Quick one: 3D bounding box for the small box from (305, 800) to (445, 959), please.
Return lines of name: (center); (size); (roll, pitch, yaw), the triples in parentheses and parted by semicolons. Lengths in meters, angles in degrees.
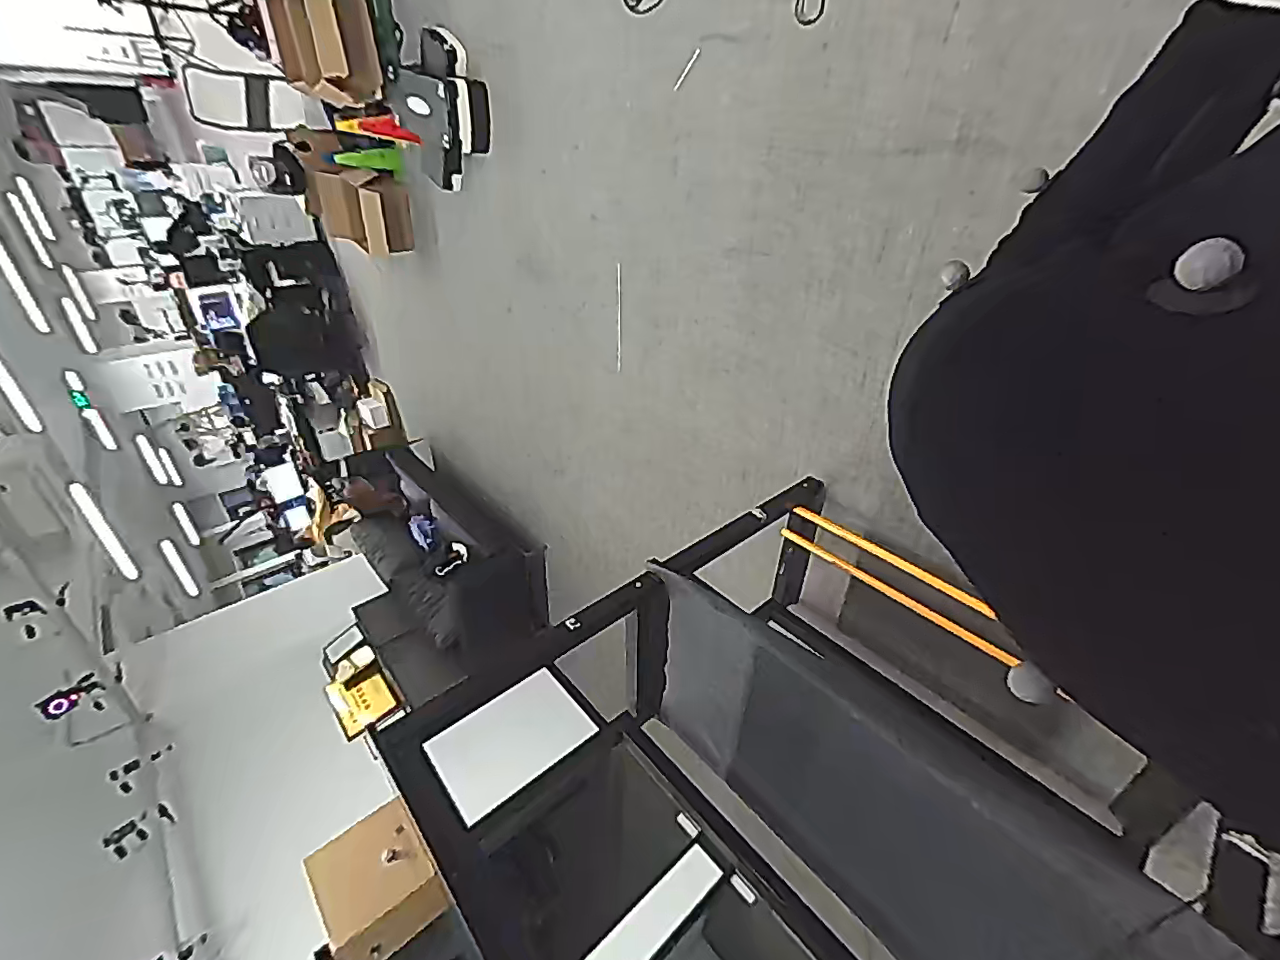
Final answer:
small box: (-0.462, 0.724, 0.964); (0.168, 0.176, 0.179); (37, 135, 35)
